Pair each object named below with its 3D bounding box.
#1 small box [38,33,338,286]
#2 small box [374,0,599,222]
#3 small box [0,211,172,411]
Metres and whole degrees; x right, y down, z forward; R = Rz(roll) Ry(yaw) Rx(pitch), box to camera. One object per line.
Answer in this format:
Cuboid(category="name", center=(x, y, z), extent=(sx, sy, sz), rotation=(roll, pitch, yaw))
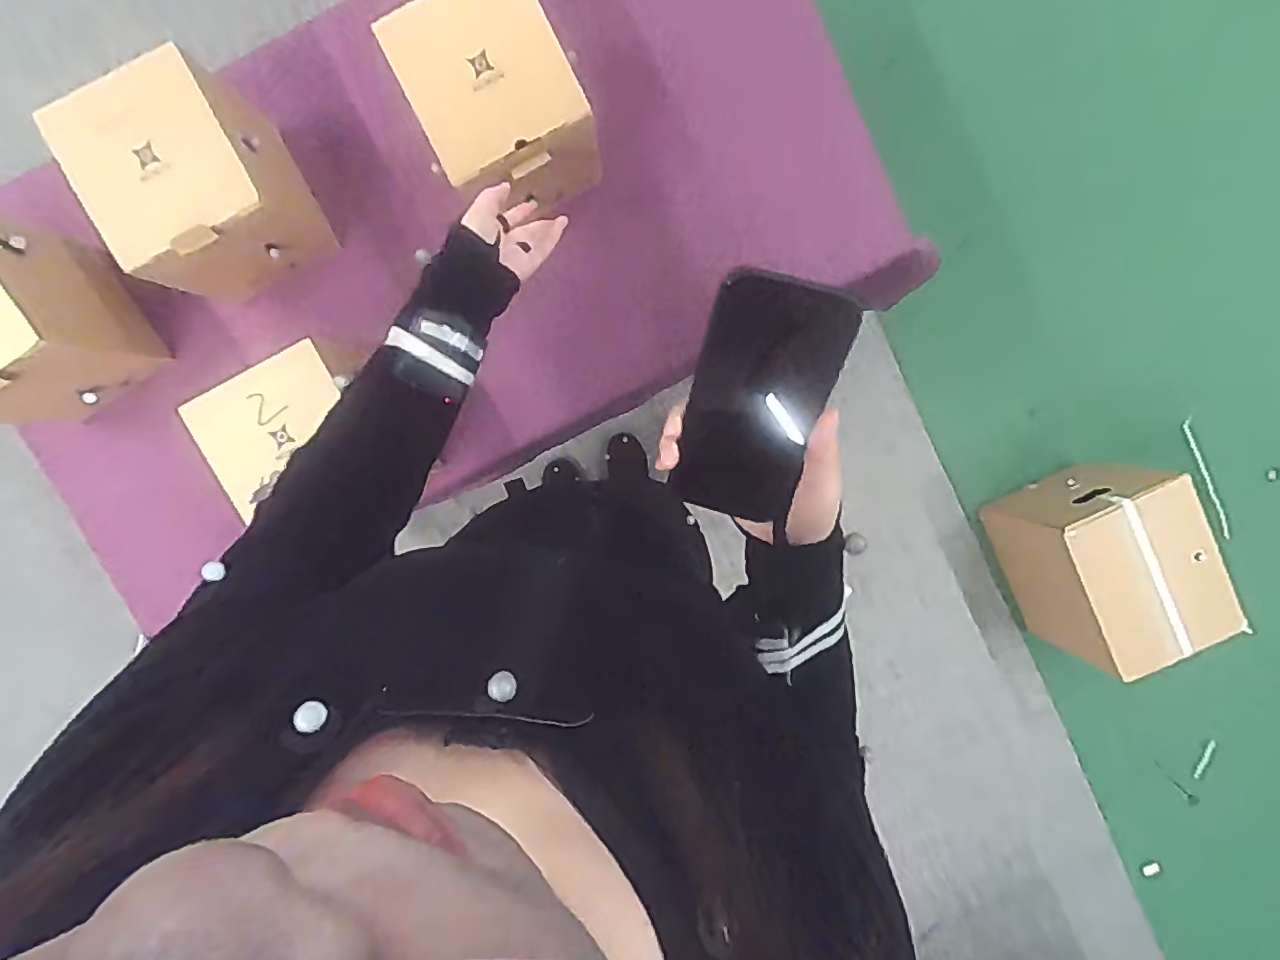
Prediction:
Cuboid(category="small box", center=(-0.499, -0.346, 0.631), extent=(0.168, 0.176, 0.179), rotation=(-26, 97, 1))
Cuboid(category="small box", center=(-0.159, -0.439, 0.625), extent=(0.168, 0.176, 0.179), rotation=(-28, 97, 3))
Cuboid(category="small box", center=(-0.736, -0.193, 0.645), extent=(0.168, 0.176, 0.179), rotation=(-32, 97, 3))
